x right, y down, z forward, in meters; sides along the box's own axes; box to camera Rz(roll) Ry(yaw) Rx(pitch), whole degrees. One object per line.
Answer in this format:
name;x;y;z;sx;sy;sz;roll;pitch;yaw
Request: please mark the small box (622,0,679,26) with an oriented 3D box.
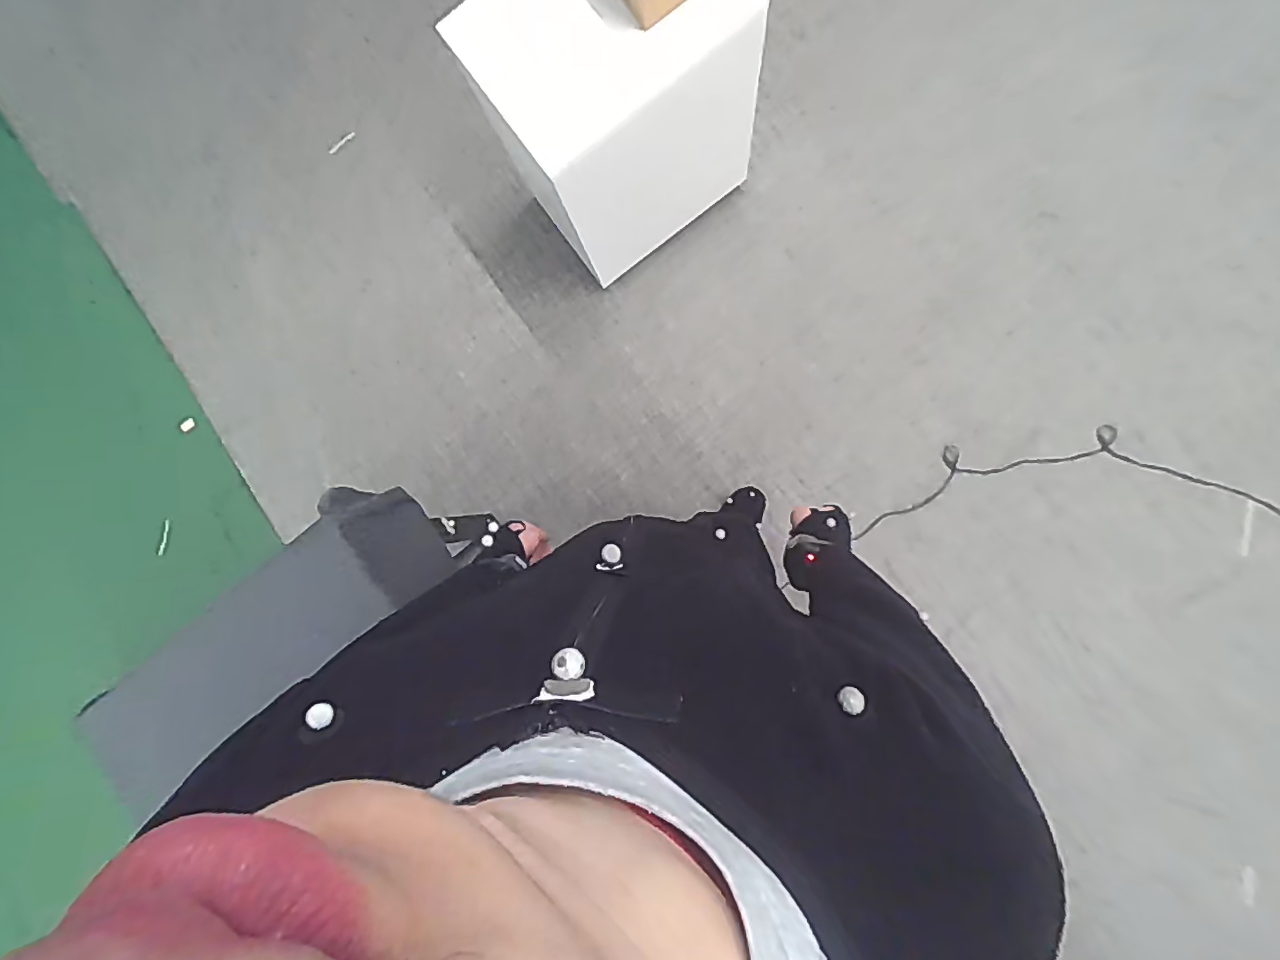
small box;0.023;-0.949;0.919;0.179;0.176;0.168;-35;83;7
